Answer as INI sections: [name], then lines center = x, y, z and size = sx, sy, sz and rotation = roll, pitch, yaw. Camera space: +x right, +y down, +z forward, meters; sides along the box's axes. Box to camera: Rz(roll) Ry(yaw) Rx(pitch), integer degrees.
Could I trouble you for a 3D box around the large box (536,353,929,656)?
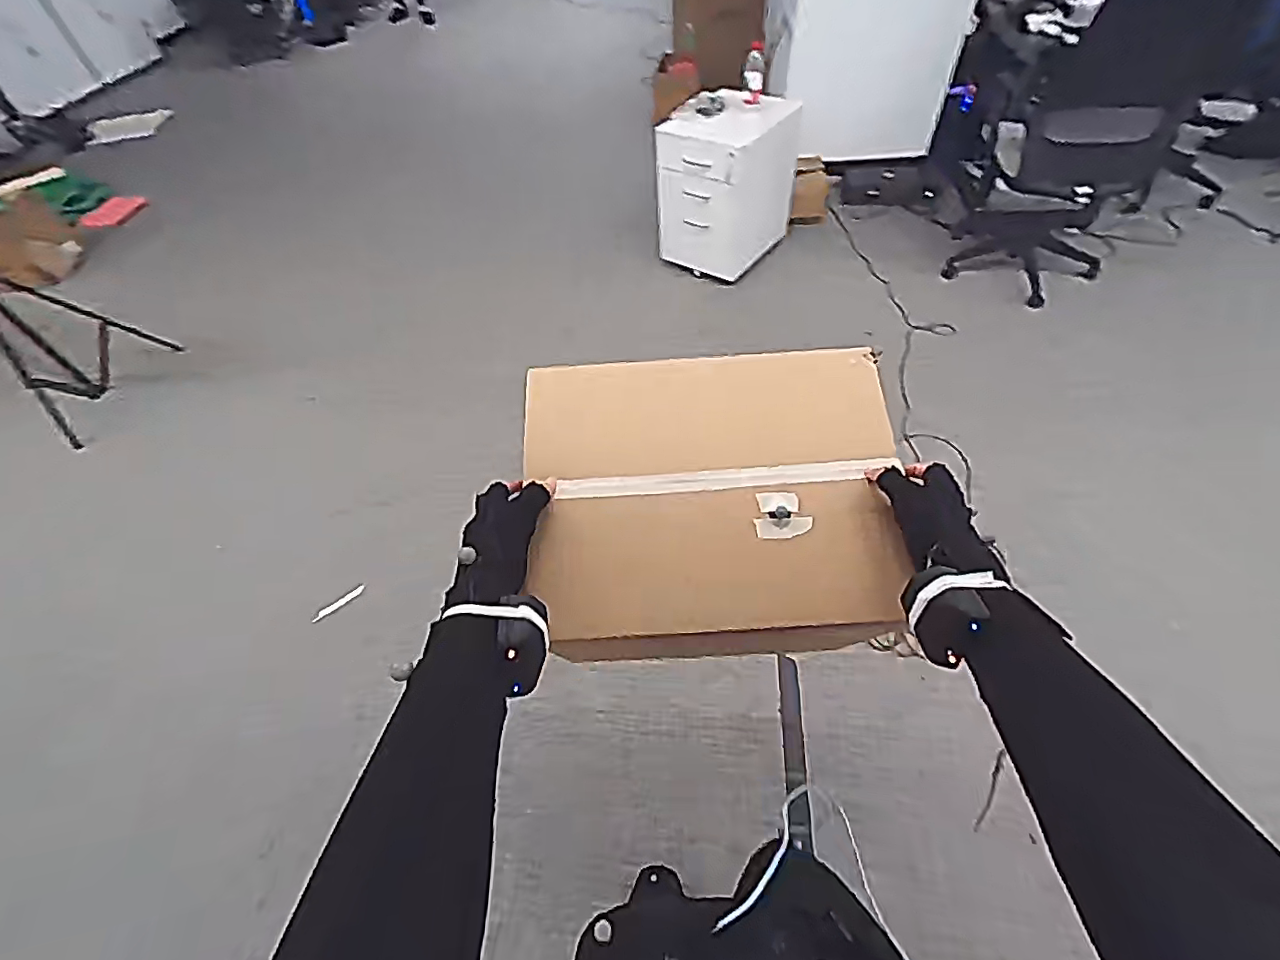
[large box]
center = 0.088, 0.056, 0.732
size = 0.408, 0.320, 0.320
rotation = -3, 68, 1
